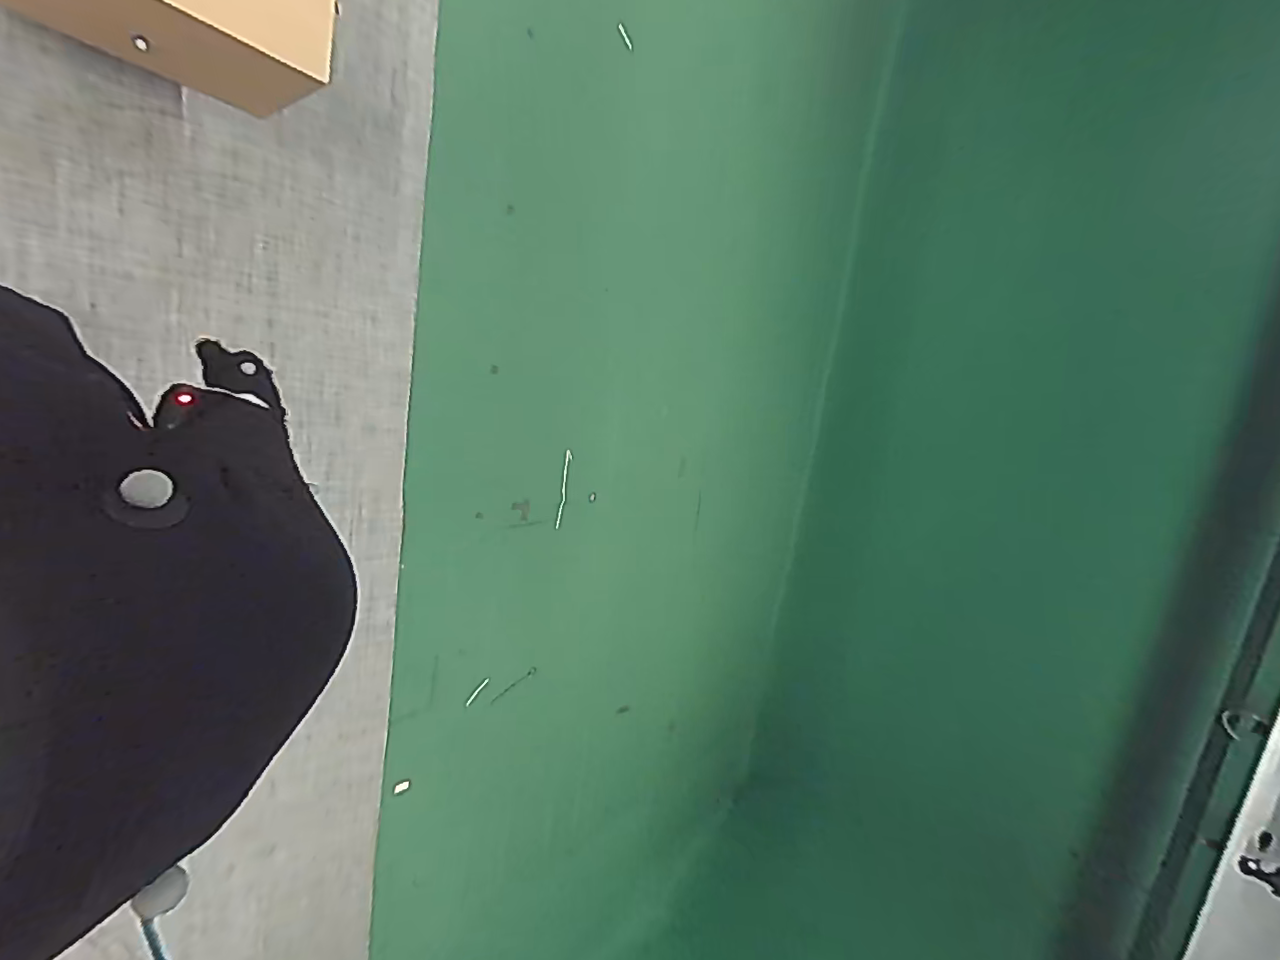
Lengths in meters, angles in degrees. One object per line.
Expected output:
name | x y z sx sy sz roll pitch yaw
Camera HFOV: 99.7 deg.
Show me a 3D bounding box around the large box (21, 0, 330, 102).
large box | -0.719 -0.831 0.785 0.408 0.320 0.320 -2 105 -51
